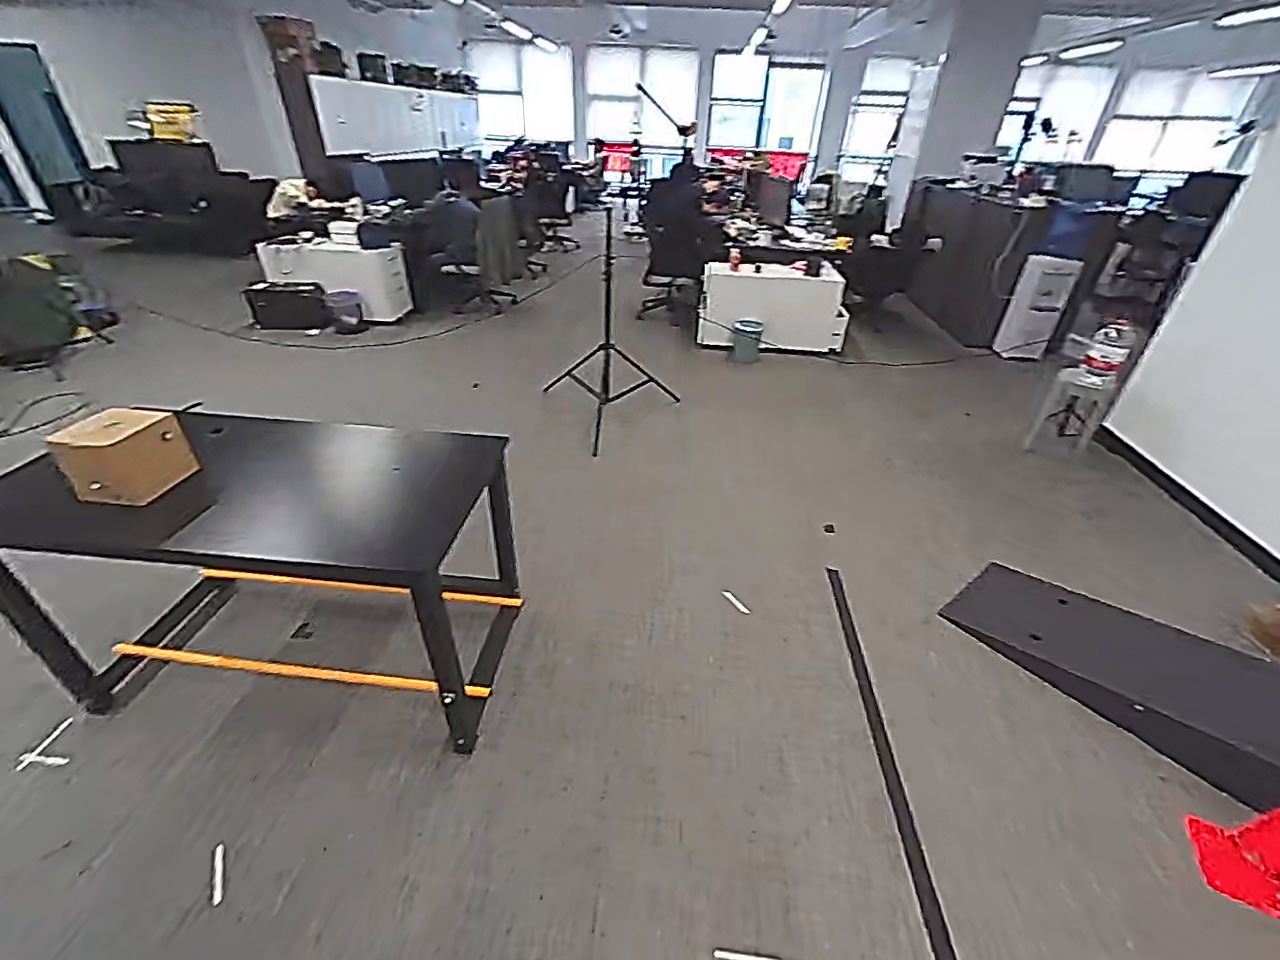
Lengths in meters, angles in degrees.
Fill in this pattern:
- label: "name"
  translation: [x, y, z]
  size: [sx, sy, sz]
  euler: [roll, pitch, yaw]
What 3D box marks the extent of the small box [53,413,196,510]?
- label: "small box"
  translation: [-1.256, -0.049, 1.340]
  size: [0.168, 0.176, 0.179]
  euler: [5, 33, 5]
